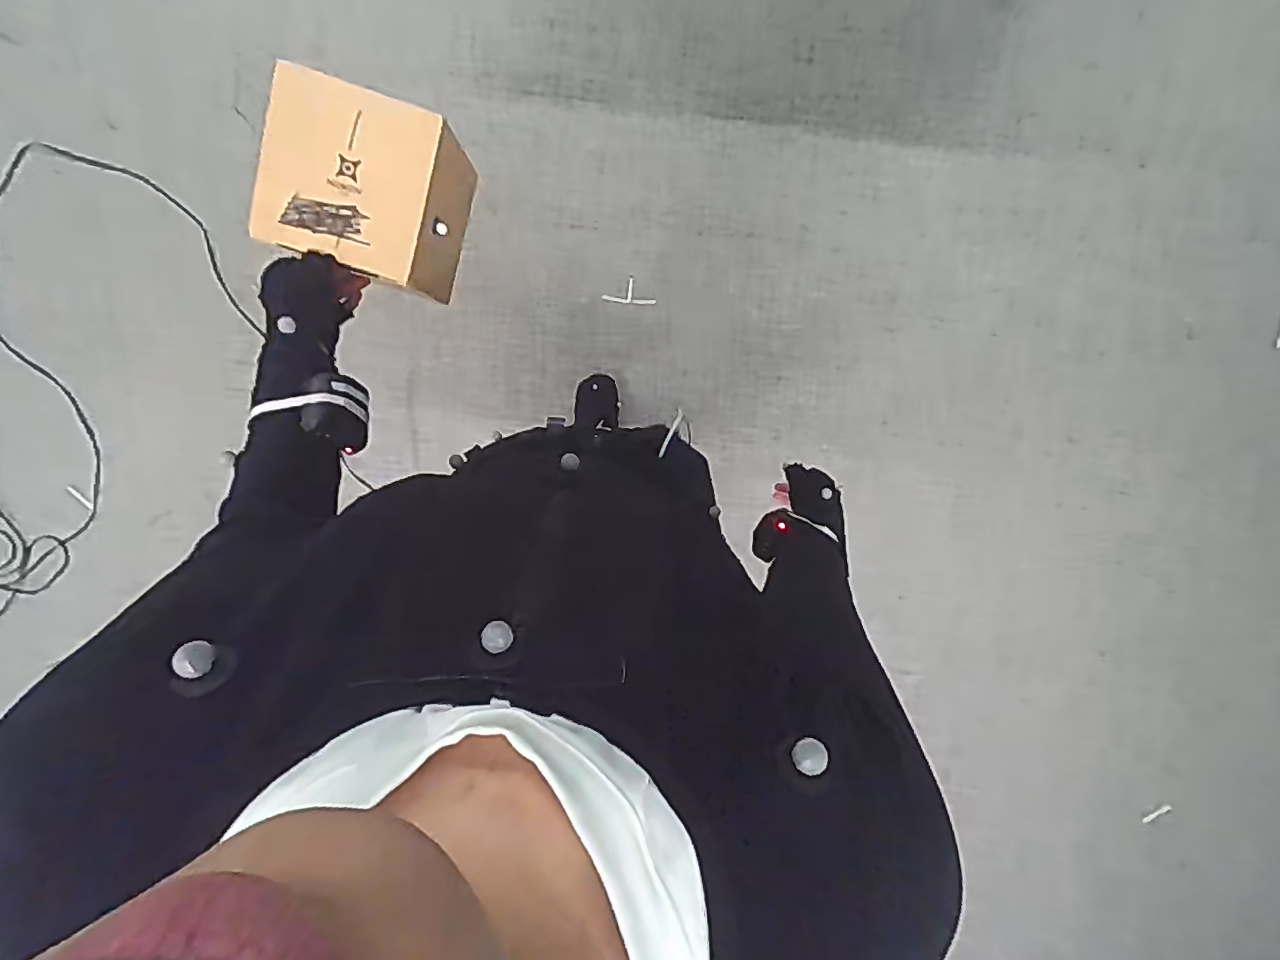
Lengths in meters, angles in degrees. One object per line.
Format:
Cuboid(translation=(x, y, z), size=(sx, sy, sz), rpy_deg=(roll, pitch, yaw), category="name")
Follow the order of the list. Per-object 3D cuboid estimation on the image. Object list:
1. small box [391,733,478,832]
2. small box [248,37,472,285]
Cuboid(translation=(-0.553, 0.818, 1.478), size=(0.179, 0.176, 0.168), rpy_deg=(7, 97, -2), category="small box")
Cuboid(translation=(-0.307, -0.343, 0.626), size=(0.168, 0.176, 0.179), rpy_deg=(16, 100, -9), category="small box")
